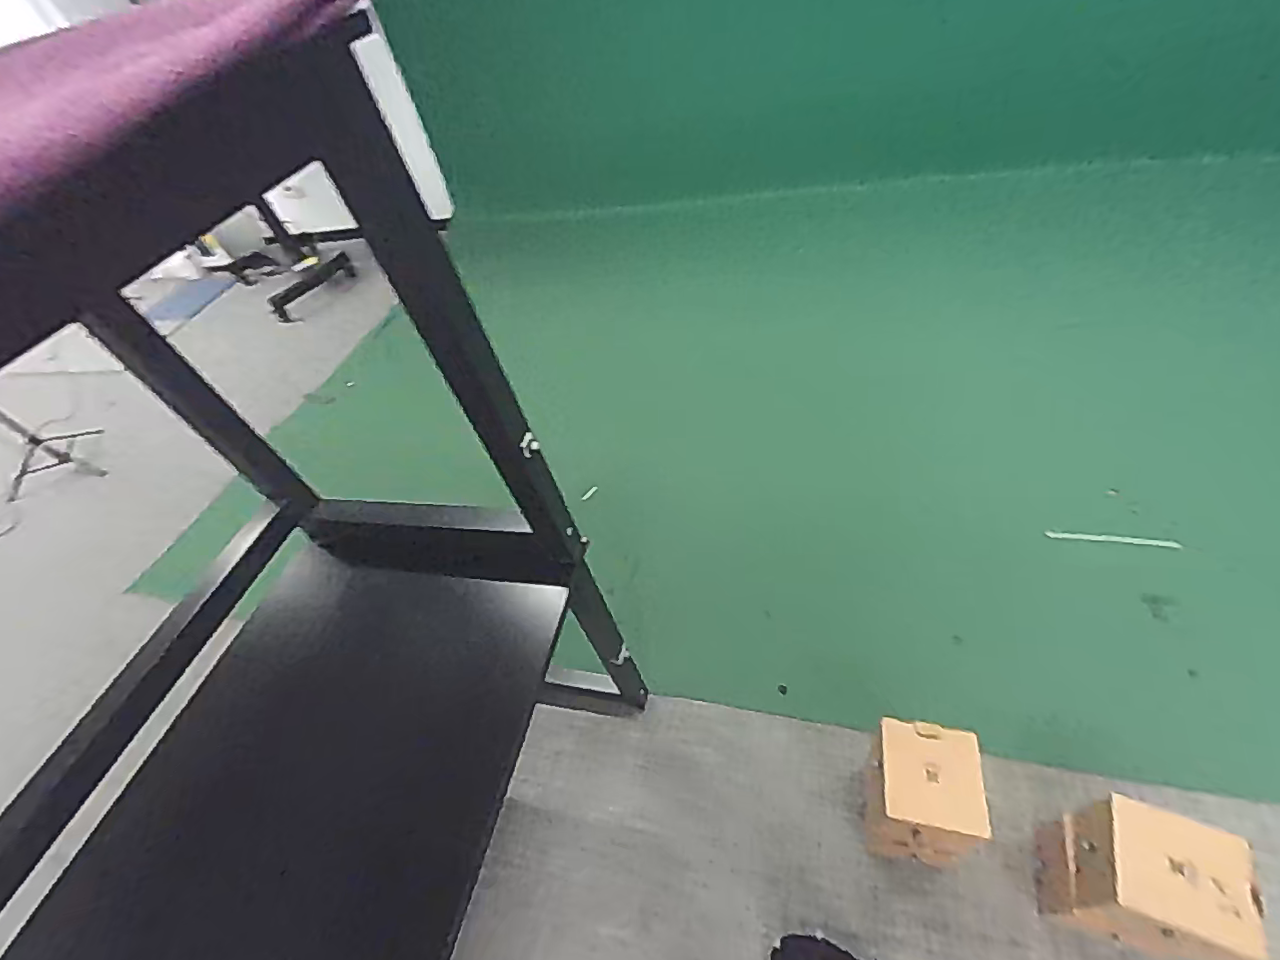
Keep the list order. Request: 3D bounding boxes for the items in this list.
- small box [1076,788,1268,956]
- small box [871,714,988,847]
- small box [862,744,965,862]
[{"bbox_3d":[0.853,0.647,0.894,0.179,0.176,0.168,13,55,23],"label":"small box"},{"bbox_3d":[0.542,0.578,1.037,0.168,0.176,0.179,2,49,17],"label":"small box"},{"bbox_3d":[0.572,0.690,1.151,0.168,0.176,0.179,2,50,16],"label":"small box"}]
